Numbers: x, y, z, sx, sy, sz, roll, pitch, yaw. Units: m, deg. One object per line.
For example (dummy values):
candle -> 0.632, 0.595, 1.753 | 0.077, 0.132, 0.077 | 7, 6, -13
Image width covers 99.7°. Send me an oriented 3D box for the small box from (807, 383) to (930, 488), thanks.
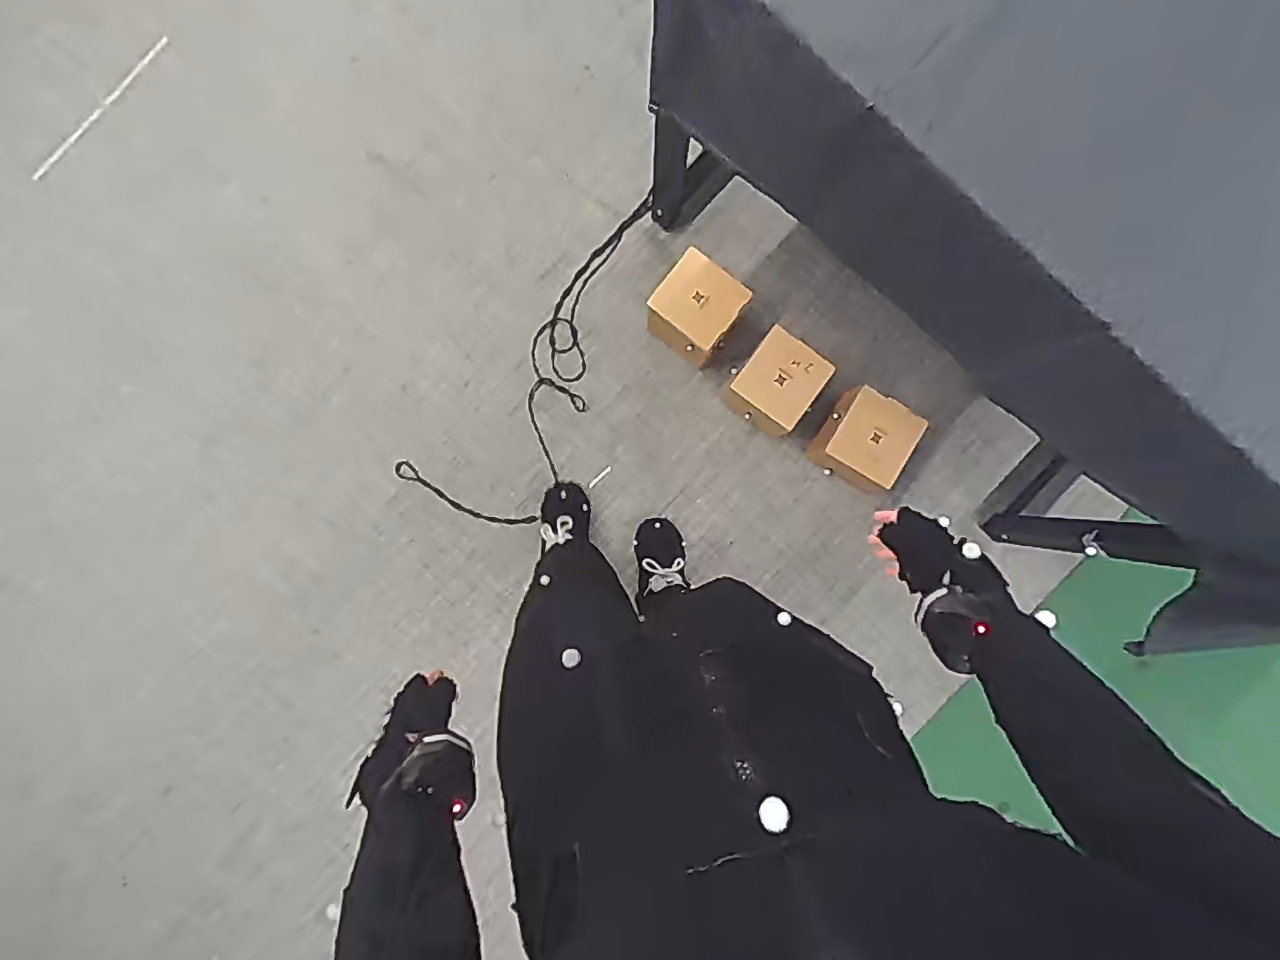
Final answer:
small box -> 0.513, -0.095, 1.243 | 0.168, 0.176, 0.179 | 32, 89, 0
